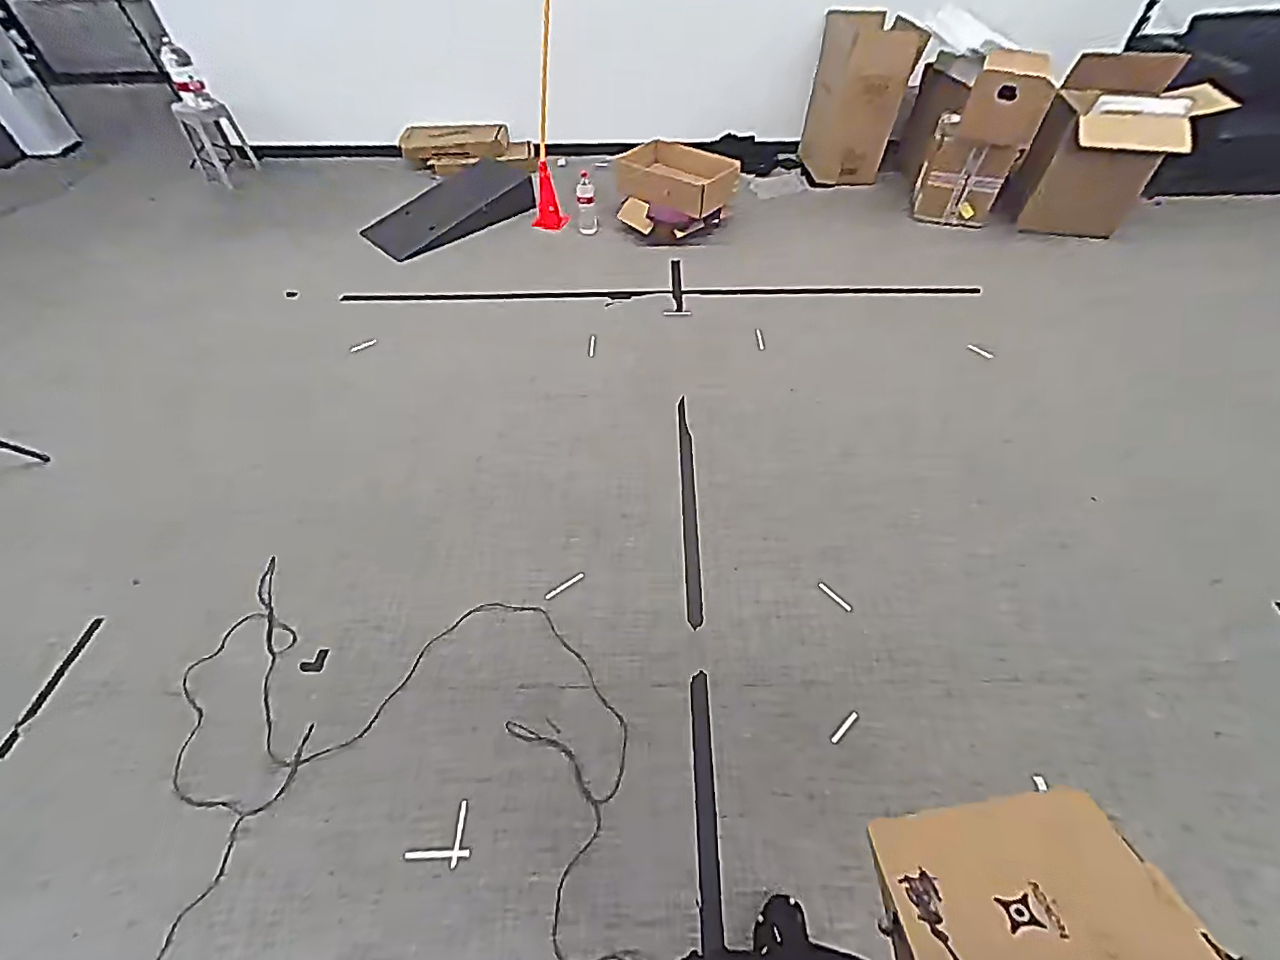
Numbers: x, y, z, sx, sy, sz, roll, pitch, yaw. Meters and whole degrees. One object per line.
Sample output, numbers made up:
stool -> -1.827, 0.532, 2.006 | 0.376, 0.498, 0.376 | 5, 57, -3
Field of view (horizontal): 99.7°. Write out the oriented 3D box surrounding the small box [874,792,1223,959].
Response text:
small box -> 0.301, 0.377, 0.405 | 0.179, 0.176, 0.168 | -15, 17, 8
